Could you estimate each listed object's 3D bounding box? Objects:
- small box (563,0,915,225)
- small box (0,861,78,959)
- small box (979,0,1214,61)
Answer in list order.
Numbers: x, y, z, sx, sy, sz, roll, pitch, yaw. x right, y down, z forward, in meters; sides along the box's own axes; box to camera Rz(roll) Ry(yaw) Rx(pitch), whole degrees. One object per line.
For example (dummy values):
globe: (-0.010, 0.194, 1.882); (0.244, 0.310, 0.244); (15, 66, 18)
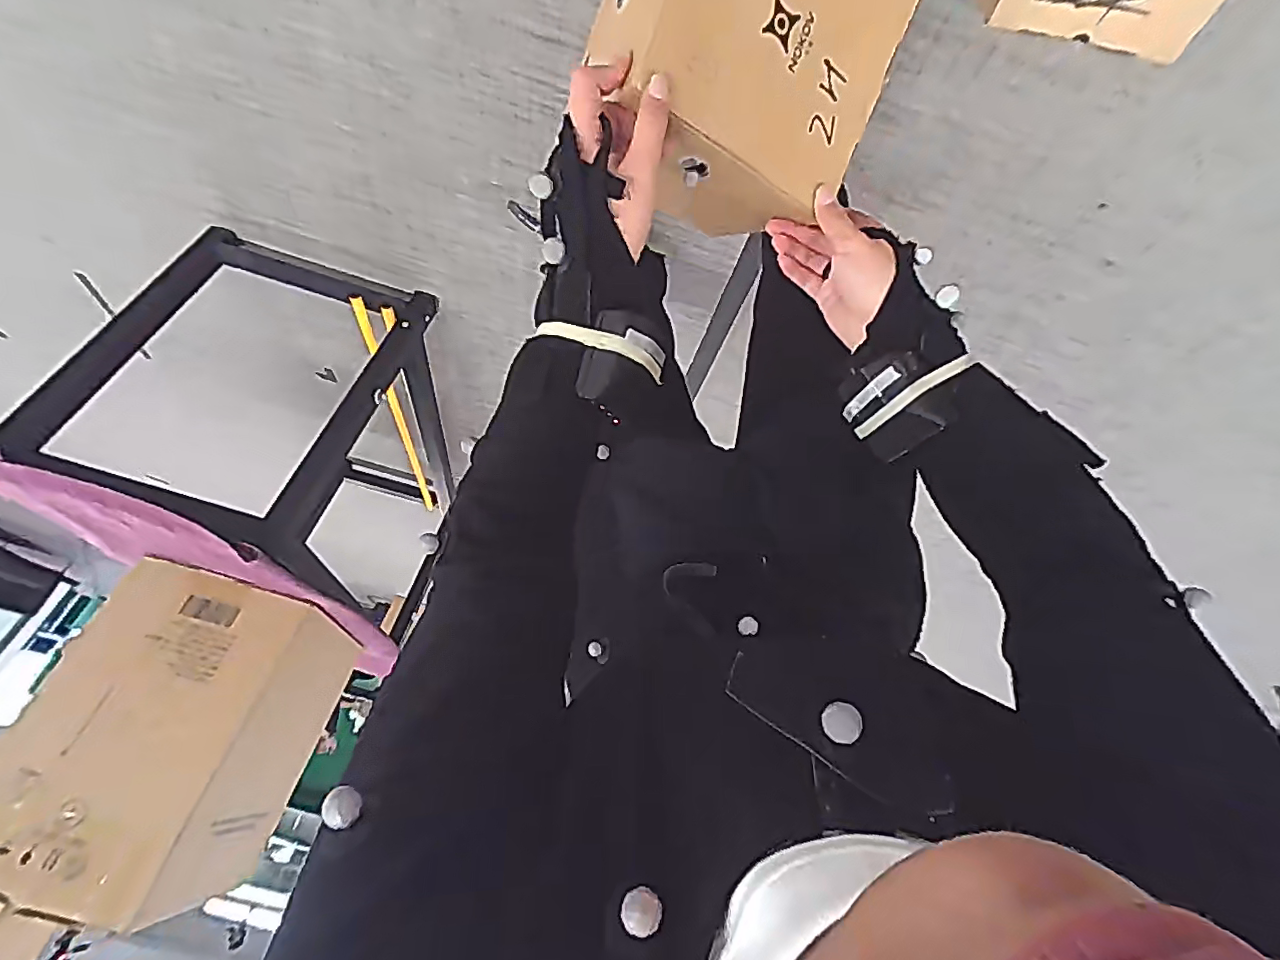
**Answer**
small box: (0.061, -0.316, 0.418); (0.179, 0.168, 0.176); (16, -168, -30)
small box: (-1.232, 0.827, 0.998); (0.168, 0.176, 0.179); (15, 151, 0)
small box: (0.407, -0.495, 0.440); (0.168, 0.176, 0.179); (14, 149, 1)
